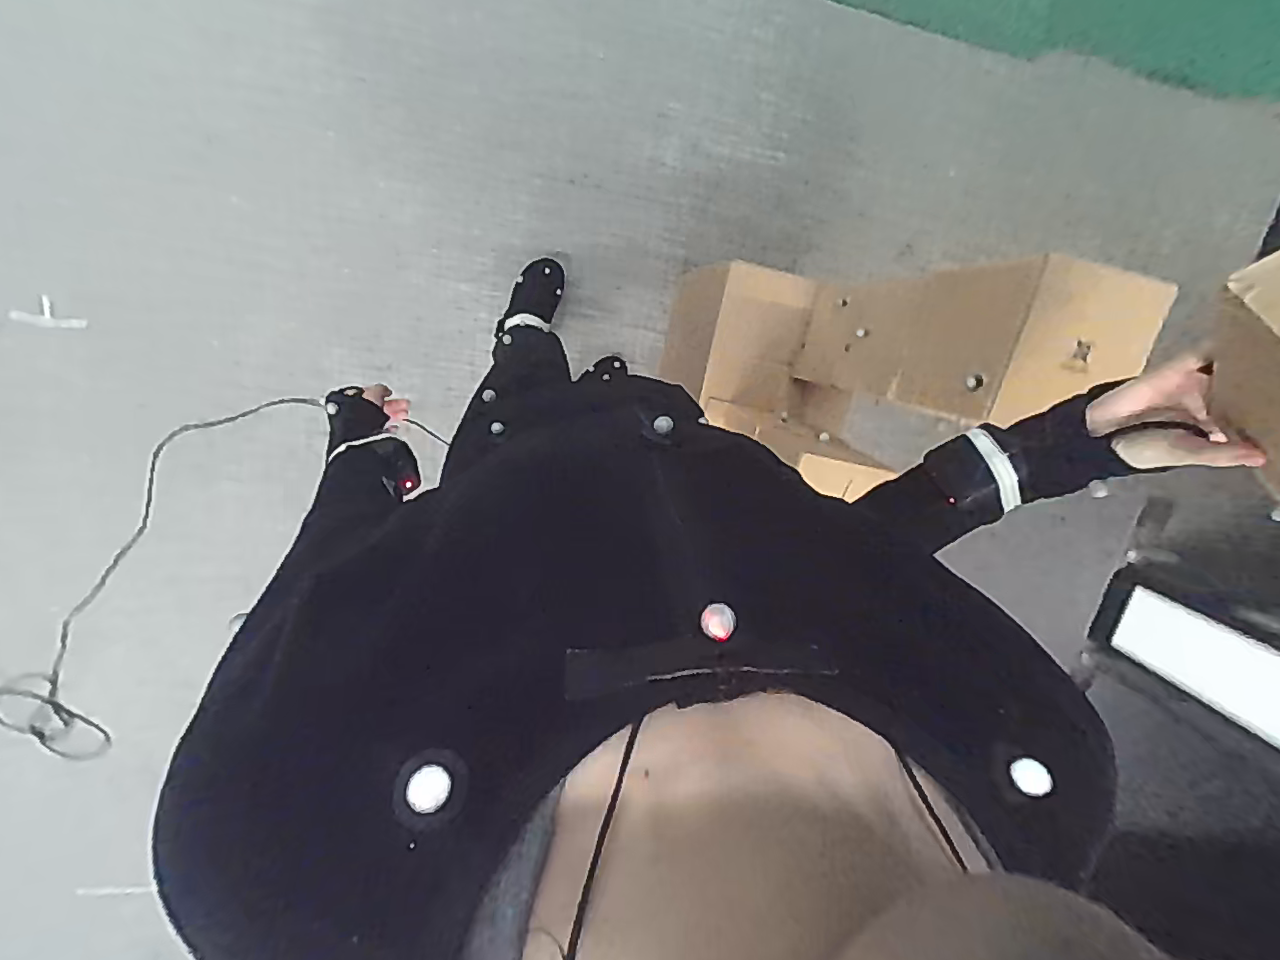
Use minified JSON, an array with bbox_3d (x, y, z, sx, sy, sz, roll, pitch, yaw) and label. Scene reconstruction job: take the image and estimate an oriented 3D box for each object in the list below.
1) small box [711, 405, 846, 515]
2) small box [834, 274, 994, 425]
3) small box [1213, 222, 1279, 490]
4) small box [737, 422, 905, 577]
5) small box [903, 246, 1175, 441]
[{"bbox_3d":[0.243,-0.031,0.995,0.168,0.176,0.179,11,105,-10],"label":"small box"},{"bbox_3d":[0.424,-0.194,0.797,0.179,0.176,0.168,14,104,-12],"label":"small box"},{"bbox_3d":[0.415,-0.048,0.244,0.168,0.179,0.176,-28,139,32],"label":"small box"},{"bbox_3d":[0.265,0.025,0.842,0.168,0.176,0.179,12,106,-12],"label":"small box"},{"bbox_3d":[0.448,-0.158,0.639,0.168,0.176,0.179,8,105,-11],"label":"small box"}]
